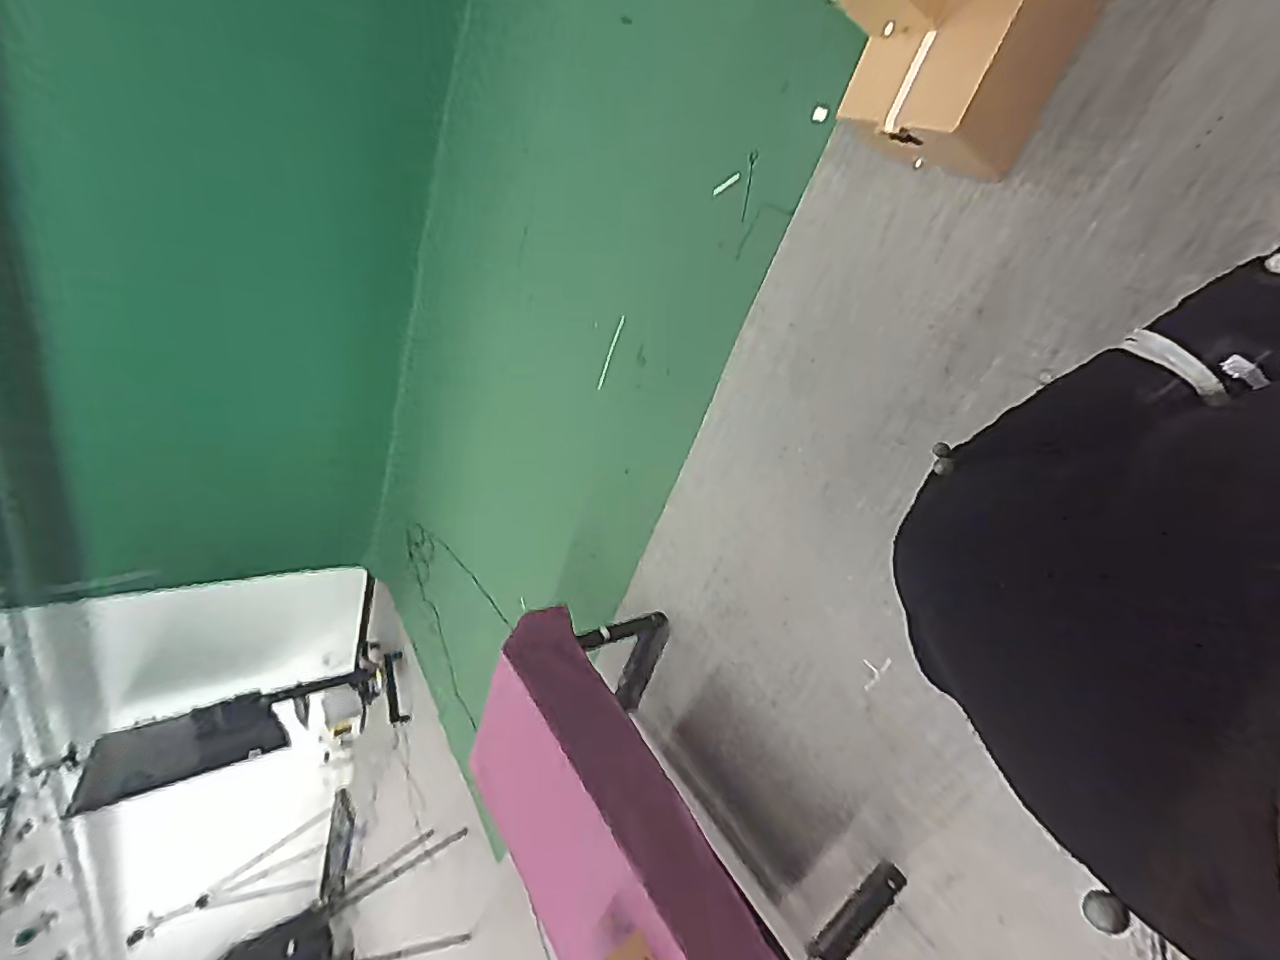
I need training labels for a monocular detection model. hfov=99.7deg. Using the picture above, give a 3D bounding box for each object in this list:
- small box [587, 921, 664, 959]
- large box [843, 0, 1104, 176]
[{"bbox_3d":[-0.039,1.193,1.258,0.168,0.176,0.179,43,123,38],"label":"small box"},{"bbox_3d":[0.747,-0.972,1.220,0.320,0.320,0.408,44,122,39],"label":"large box"}]
